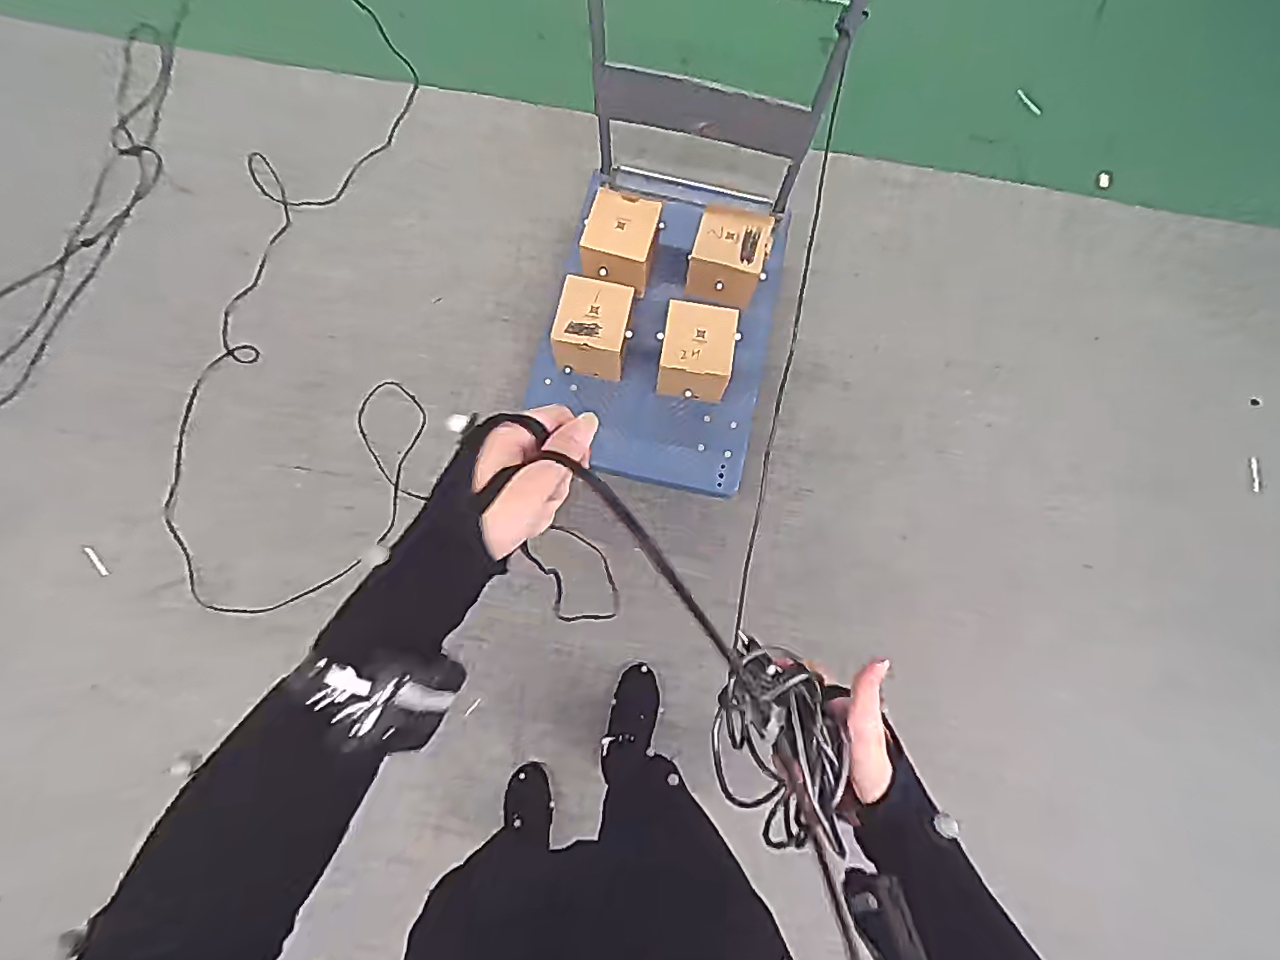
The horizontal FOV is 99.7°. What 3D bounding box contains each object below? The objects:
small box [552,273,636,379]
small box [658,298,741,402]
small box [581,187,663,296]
[{"bbox_3d":[-0.109,-0.370,1.328,0.168,0.176,0.179,12,76,0],"label":"small box"},{"bbox_3d":[0.140,-0.311,1.323,0.168,0.176,0.179,10,77,1],"label":"small box"},{"bbox_3d":[-0.044,-0.603,1.386,0.168,0.176,0.179,15,76,1],"label":"small box"}]
